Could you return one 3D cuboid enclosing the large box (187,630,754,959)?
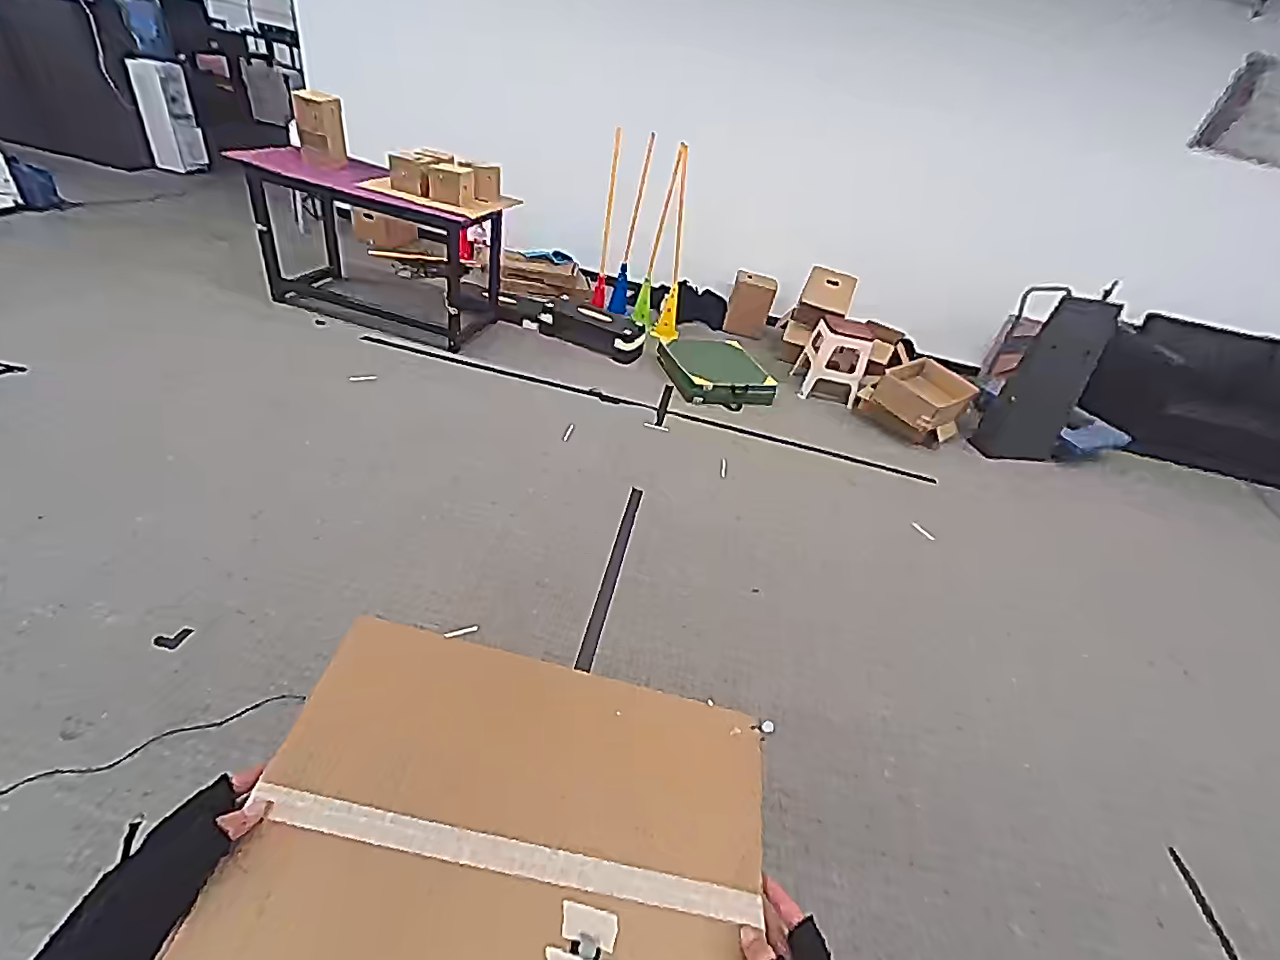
[{"bbox_3d":[-0.133,0.399,0.540,0.408,0.320,0.320,16,46,-5],"label":"large box"}]
